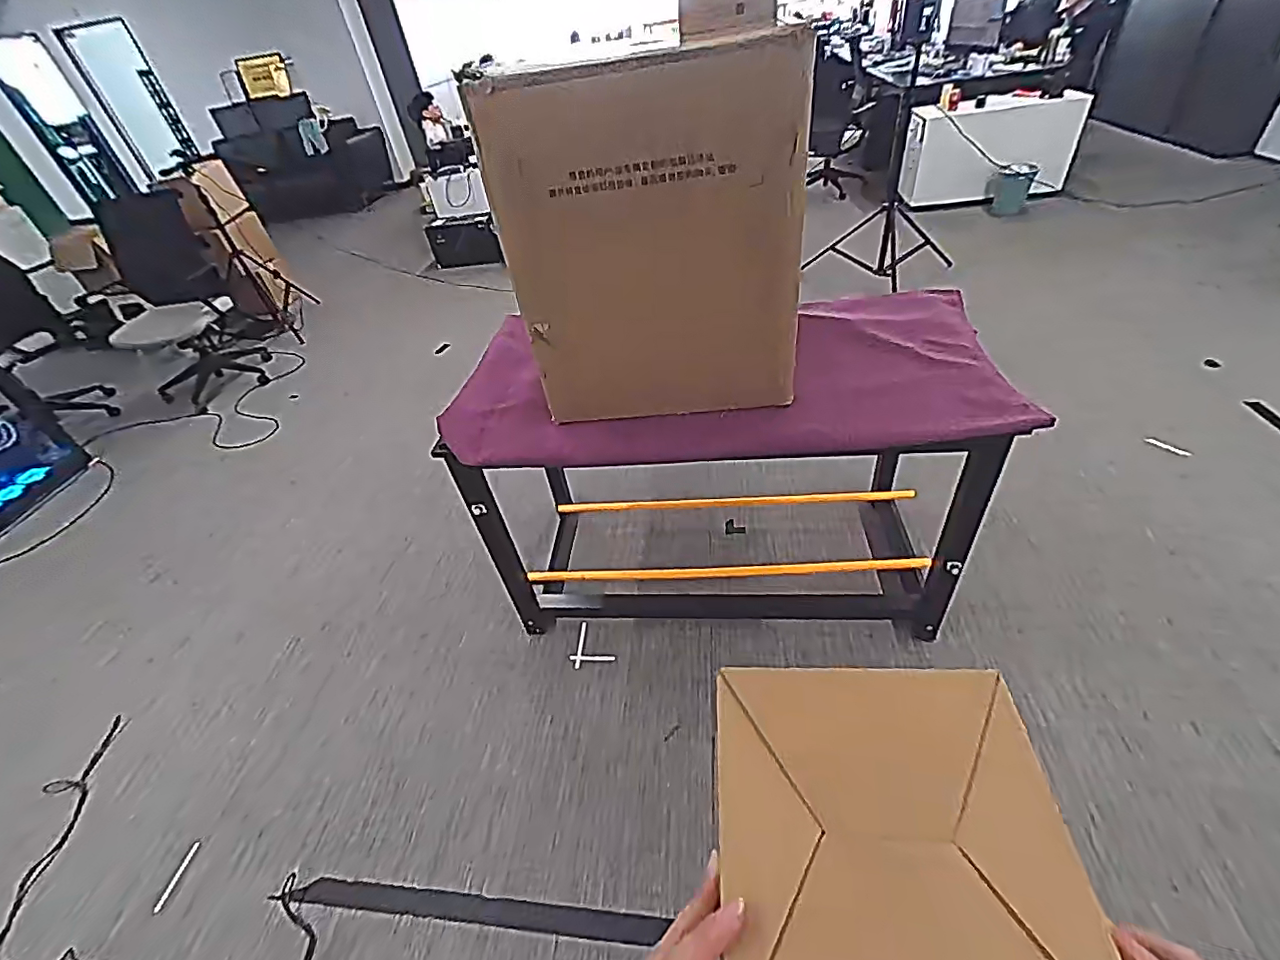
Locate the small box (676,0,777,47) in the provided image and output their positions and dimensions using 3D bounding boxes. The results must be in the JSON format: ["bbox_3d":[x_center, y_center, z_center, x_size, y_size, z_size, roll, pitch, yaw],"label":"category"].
[{"bbox_3d":[0.146,-0.860,0.925,0.168,0.176,0.179,-3,41,10],"label":"small box"}]

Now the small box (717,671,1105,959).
[{"bbox_3d":[0.134,0.237,0.325,0.168,0.176,0.179,-3,44,9],"label":"small box"}]
